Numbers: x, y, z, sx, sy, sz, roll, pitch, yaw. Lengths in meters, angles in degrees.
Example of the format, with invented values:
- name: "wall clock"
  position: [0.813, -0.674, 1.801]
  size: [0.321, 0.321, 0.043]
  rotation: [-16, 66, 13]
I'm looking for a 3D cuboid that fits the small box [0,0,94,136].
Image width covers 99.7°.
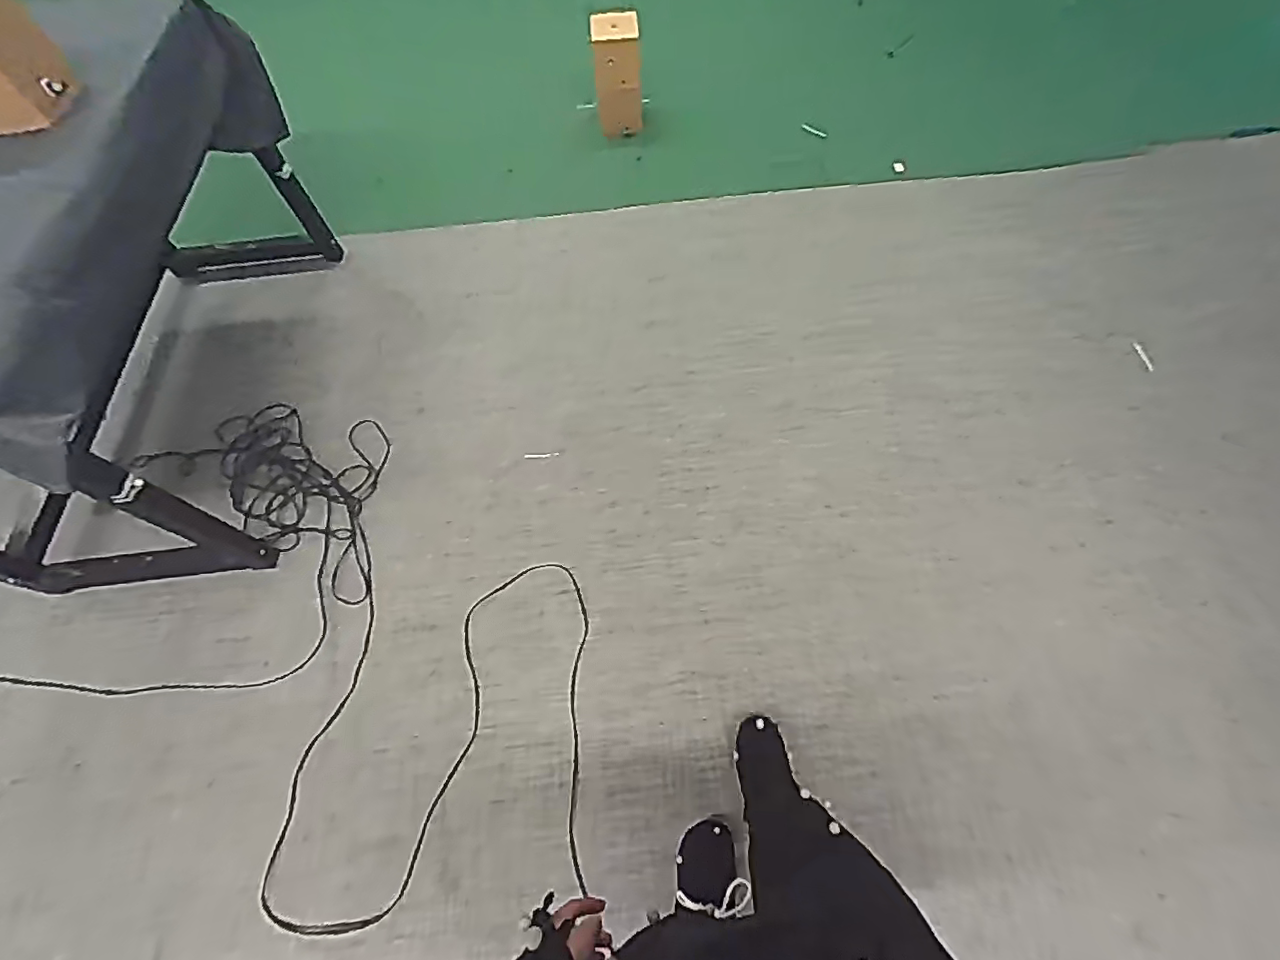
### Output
- name: "small box"
  position: [-1.193, -0.762, 0.995]
  size: [0.179, 0.176, 0.168]
  rotation: [-5, 64, -1]

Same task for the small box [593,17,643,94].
- name: "small box"
  position: [-0.078, -1.544, 1.974]
  size: [0.168, 0.176, 0.179]
  rotation: [-4, 63, 1]
